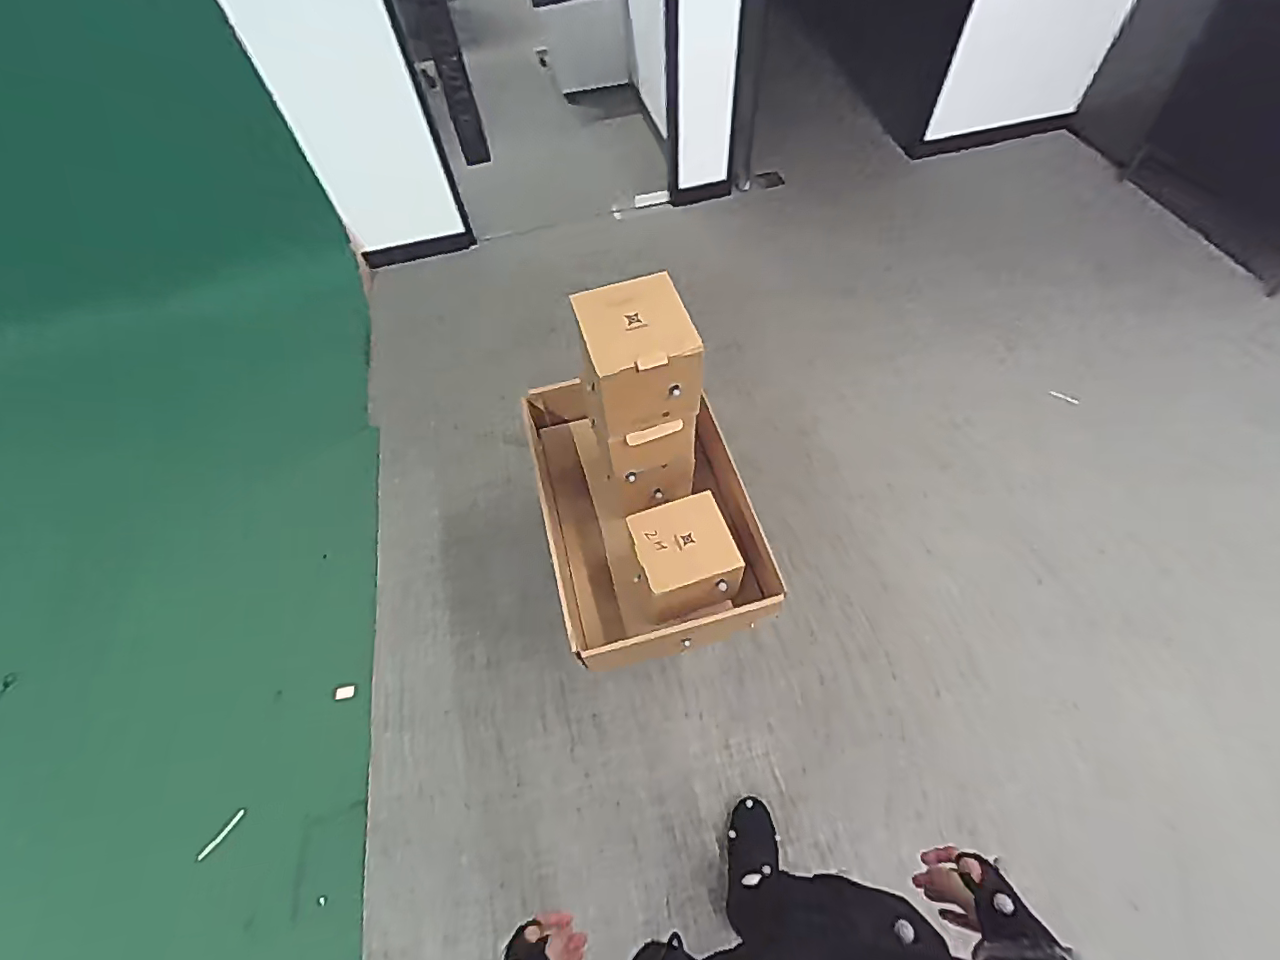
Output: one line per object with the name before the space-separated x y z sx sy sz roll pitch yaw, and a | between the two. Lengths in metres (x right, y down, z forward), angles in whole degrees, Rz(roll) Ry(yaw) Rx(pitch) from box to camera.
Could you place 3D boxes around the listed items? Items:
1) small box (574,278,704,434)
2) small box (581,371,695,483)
small box | -0.001 -0.194 0.893 0.168 0.176 0.179 -15 61 -7
small box | -0.001 -0.113 1.034 0.168 0.176 0.179 -19 61 -8
